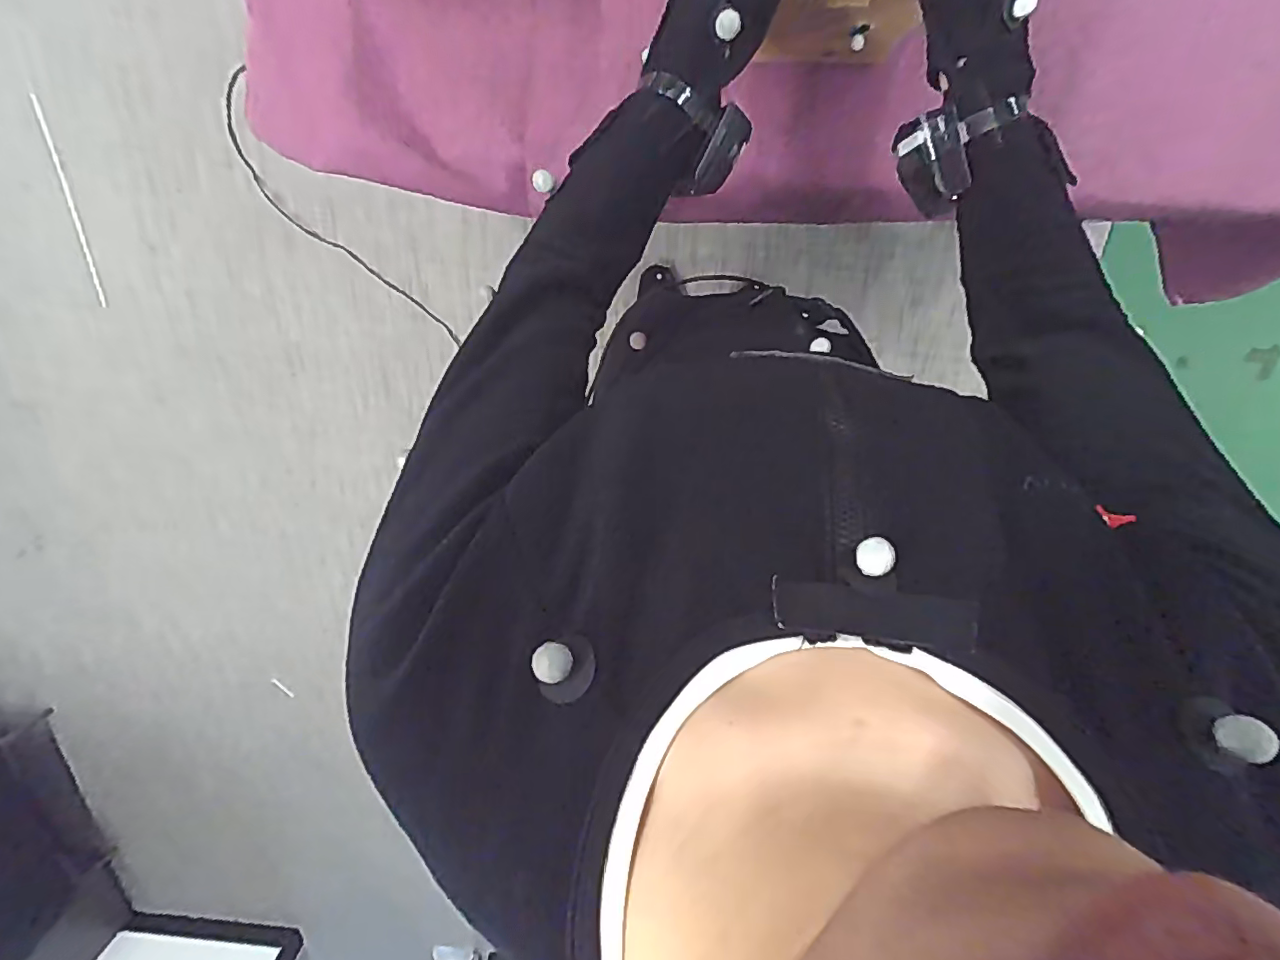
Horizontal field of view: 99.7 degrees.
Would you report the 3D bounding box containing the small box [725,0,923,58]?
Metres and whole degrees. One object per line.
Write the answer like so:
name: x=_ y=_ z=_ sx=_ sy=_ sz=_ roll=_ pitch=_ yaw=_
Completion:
small box: x=0.164 y=-0.484 z=0.452 sx=0.168 sy=0.176 sz=0.179 roll=4 pitch=111 yaw=3
